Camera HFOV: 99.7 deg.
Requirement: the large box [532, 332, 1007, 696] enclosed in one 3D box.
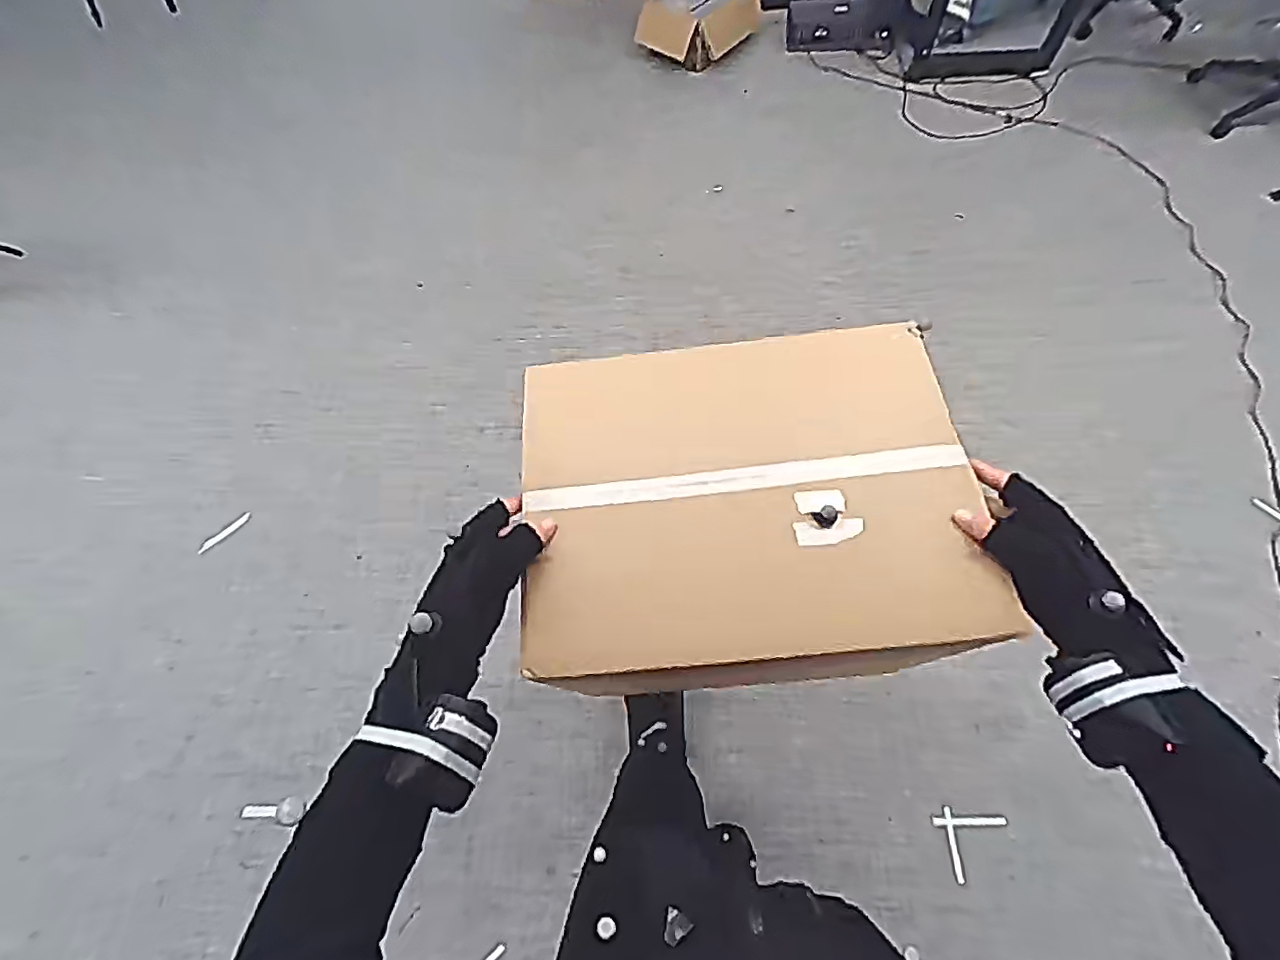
[{"bbox_3d":[0.103,0.065,0.646,0.408,0.320,0.320,-6,65,2],"label":"large box"}]
